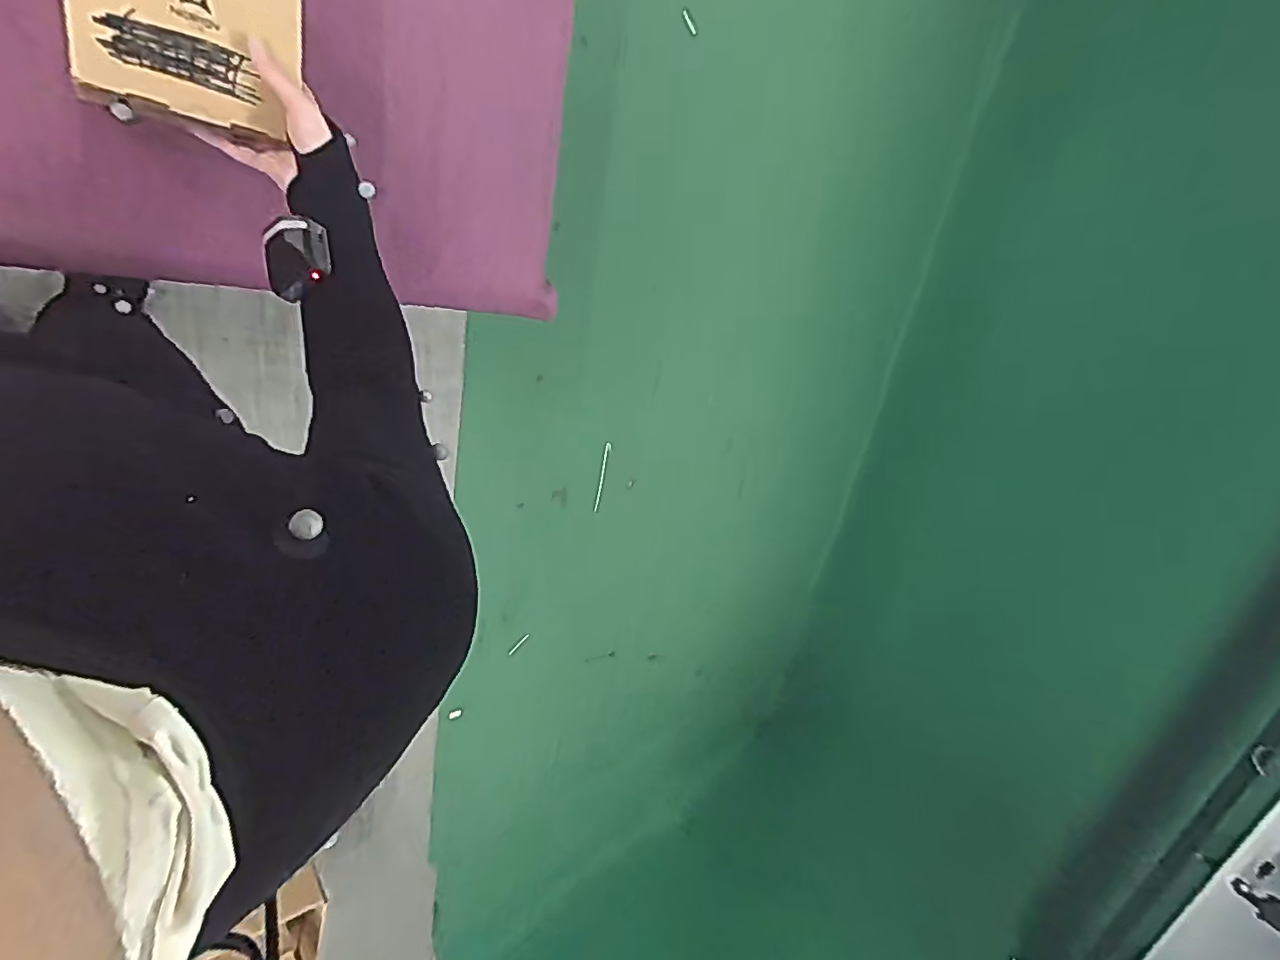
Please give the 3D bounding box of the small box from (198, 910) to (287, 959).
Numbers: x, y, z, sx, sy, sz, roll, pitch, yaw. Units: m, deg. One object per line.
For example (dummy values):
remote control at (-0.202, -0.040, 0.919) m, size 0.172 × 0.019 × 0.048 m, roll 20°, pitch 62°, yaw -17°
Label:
small box at (-1.125, 1.380, 1.526) m, size 0.179 × 0.176 × 0.168 m, roll -4°, pitch 116°, yaw -45°
